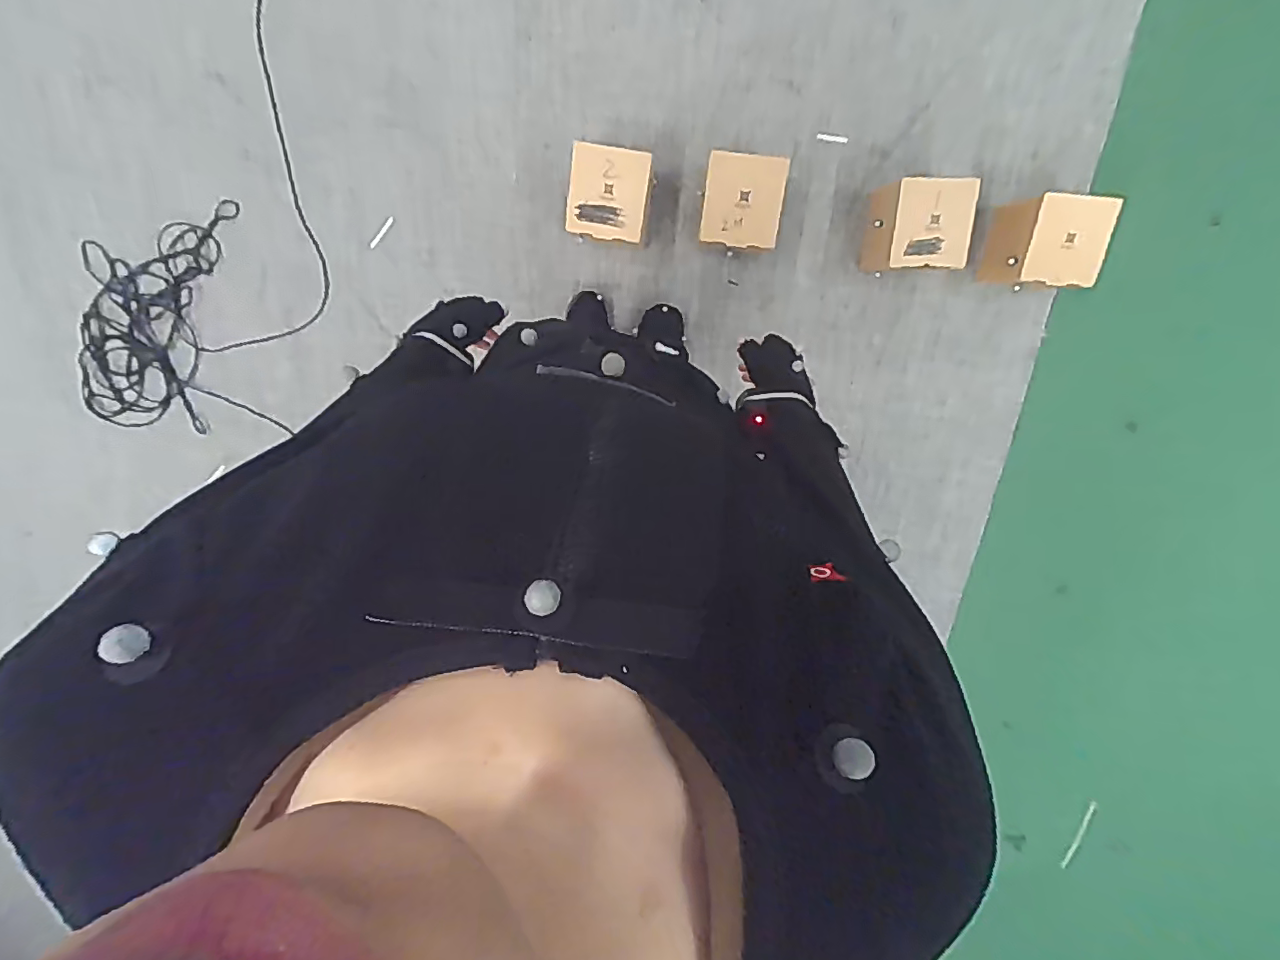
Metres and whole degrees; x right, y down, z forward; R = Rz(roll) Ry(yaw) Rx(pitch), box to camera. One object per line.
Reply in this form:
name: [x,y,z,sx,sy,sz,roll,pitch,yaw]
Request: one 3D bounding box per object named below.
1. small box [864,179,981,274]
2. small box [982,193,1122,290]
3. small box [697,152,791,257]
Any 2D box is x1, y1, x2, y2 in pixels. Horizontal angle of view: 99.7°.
small box: [0.623,-0.562,1.217,0.168,0.176,0.179,1,107,1]
small box: [0.914,-0.530,1.221,0.168,0.176,0.179,5,108,1]
small box: [0.223,-0.608,1.211,0.168,0.176,0.179,7,109,0]
